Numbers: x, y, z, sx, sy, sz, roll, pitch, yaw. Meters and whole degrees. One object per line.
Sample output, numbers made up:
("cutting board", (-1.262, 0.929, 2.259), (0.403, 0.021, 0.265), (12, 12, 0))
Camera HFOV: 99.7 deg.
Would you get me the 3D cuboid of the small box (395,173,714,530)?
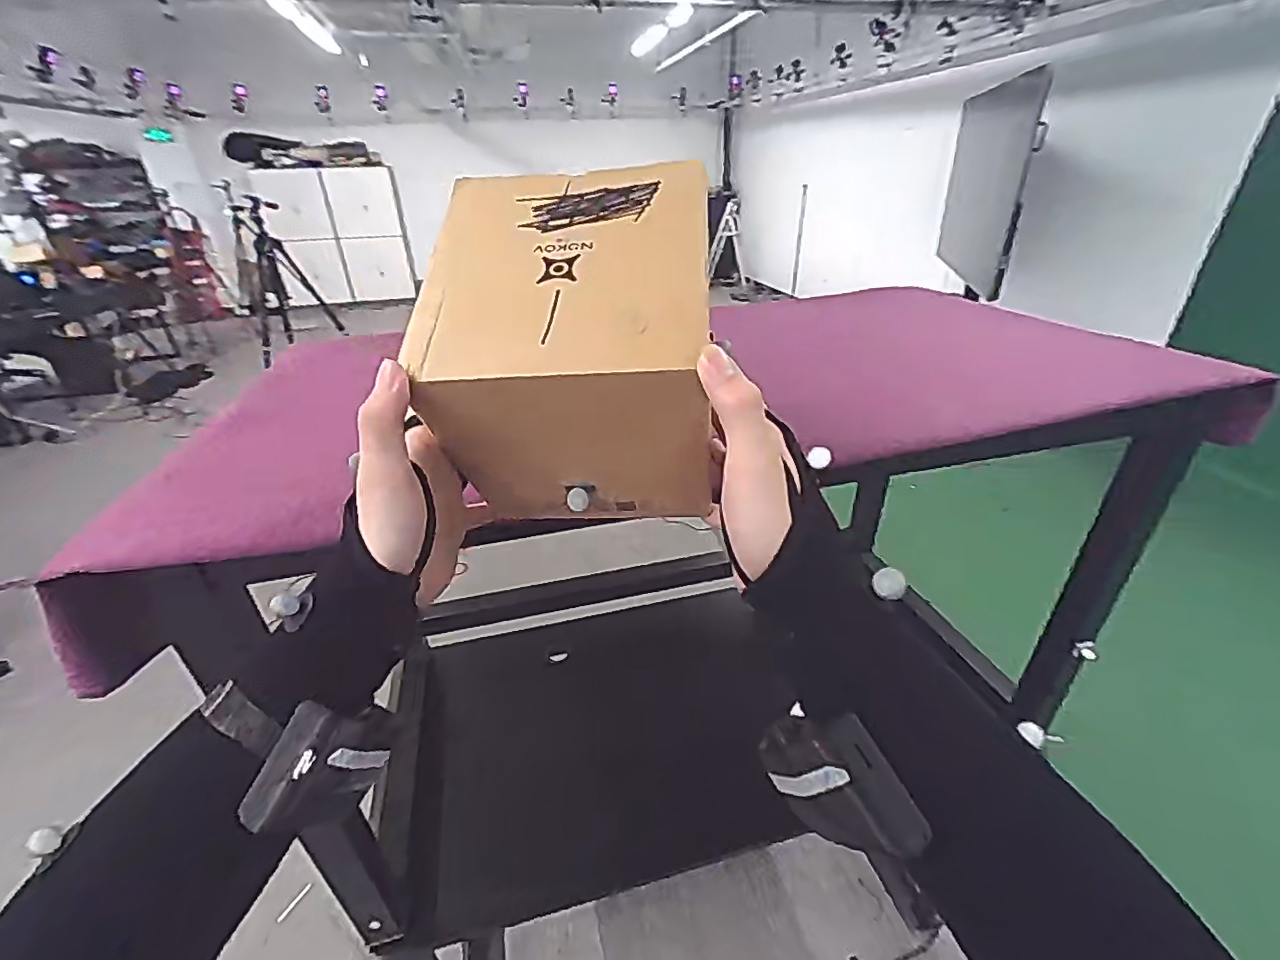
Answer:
("small box", (-0.033, -0.079, 0.379), (0.168, 0.176, 0.179), (-1, 60, 8))
